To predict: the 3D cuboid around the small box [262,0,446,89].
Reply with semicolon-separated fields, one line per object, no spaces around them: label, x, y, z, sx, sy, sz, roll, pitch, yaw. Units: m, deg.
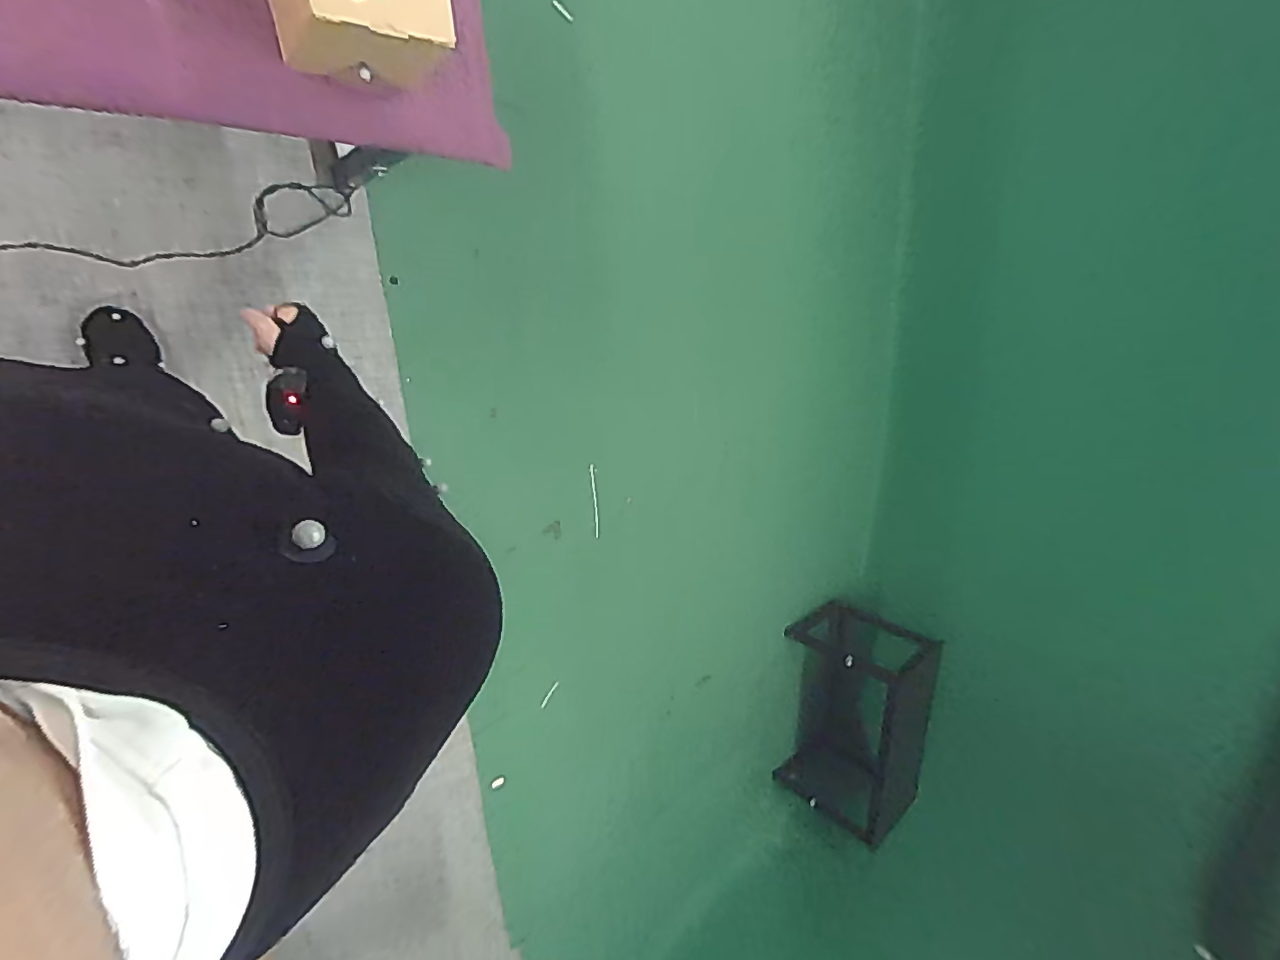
small box;-0.365;-0.621;0.668;0.168;0.176;0.179;-20;116;-37
